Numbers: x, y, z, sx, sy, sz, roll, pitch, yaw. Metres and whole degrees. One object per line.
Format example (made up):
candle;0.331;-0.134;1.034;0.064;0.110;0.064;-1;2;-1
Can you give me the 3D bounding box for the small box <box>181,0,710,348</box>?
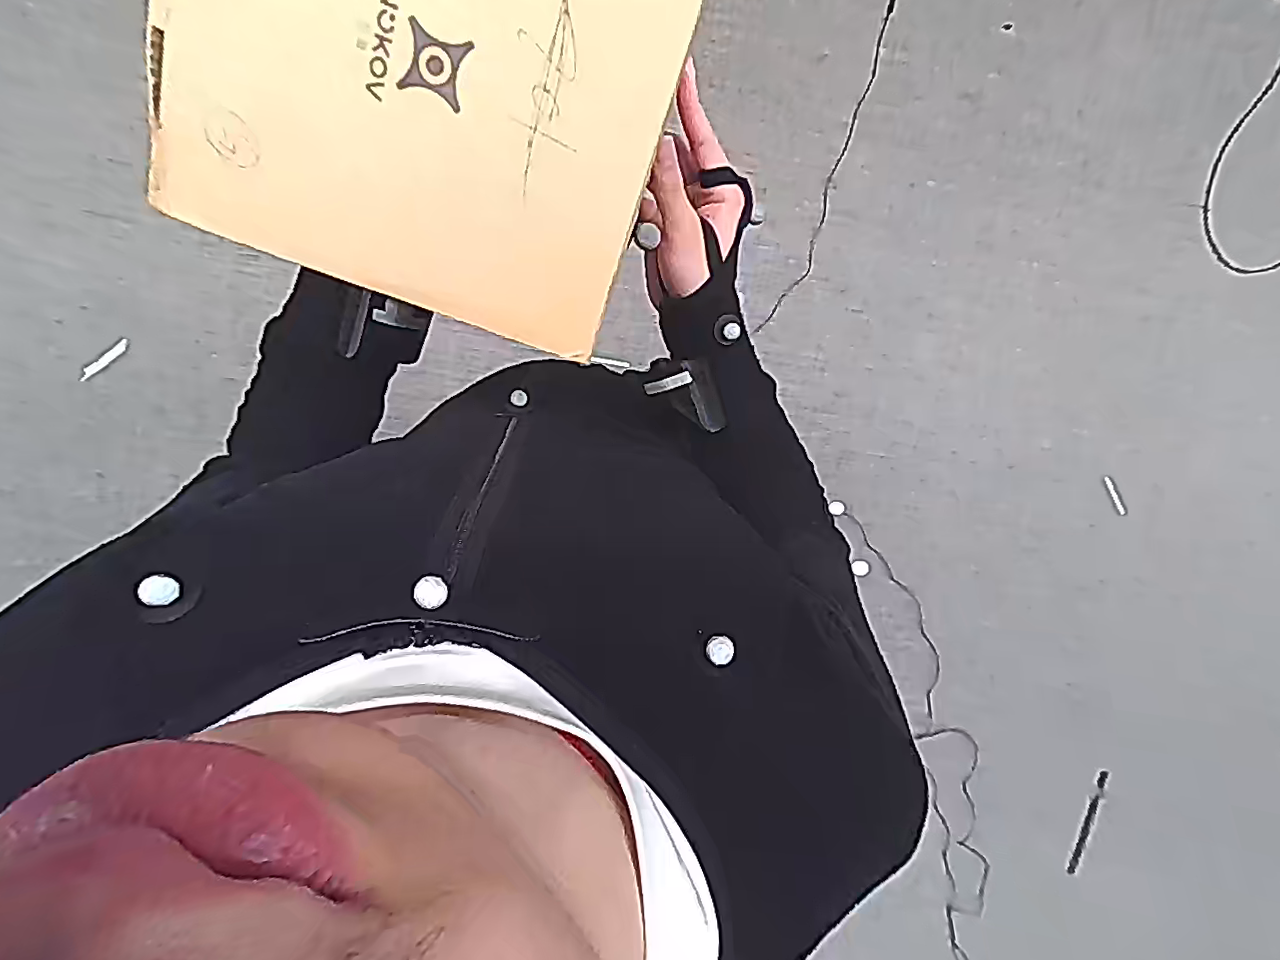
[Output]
small box;-0.079;-0.180;0.280;0.179;0.176;0.168;17;108;-9
